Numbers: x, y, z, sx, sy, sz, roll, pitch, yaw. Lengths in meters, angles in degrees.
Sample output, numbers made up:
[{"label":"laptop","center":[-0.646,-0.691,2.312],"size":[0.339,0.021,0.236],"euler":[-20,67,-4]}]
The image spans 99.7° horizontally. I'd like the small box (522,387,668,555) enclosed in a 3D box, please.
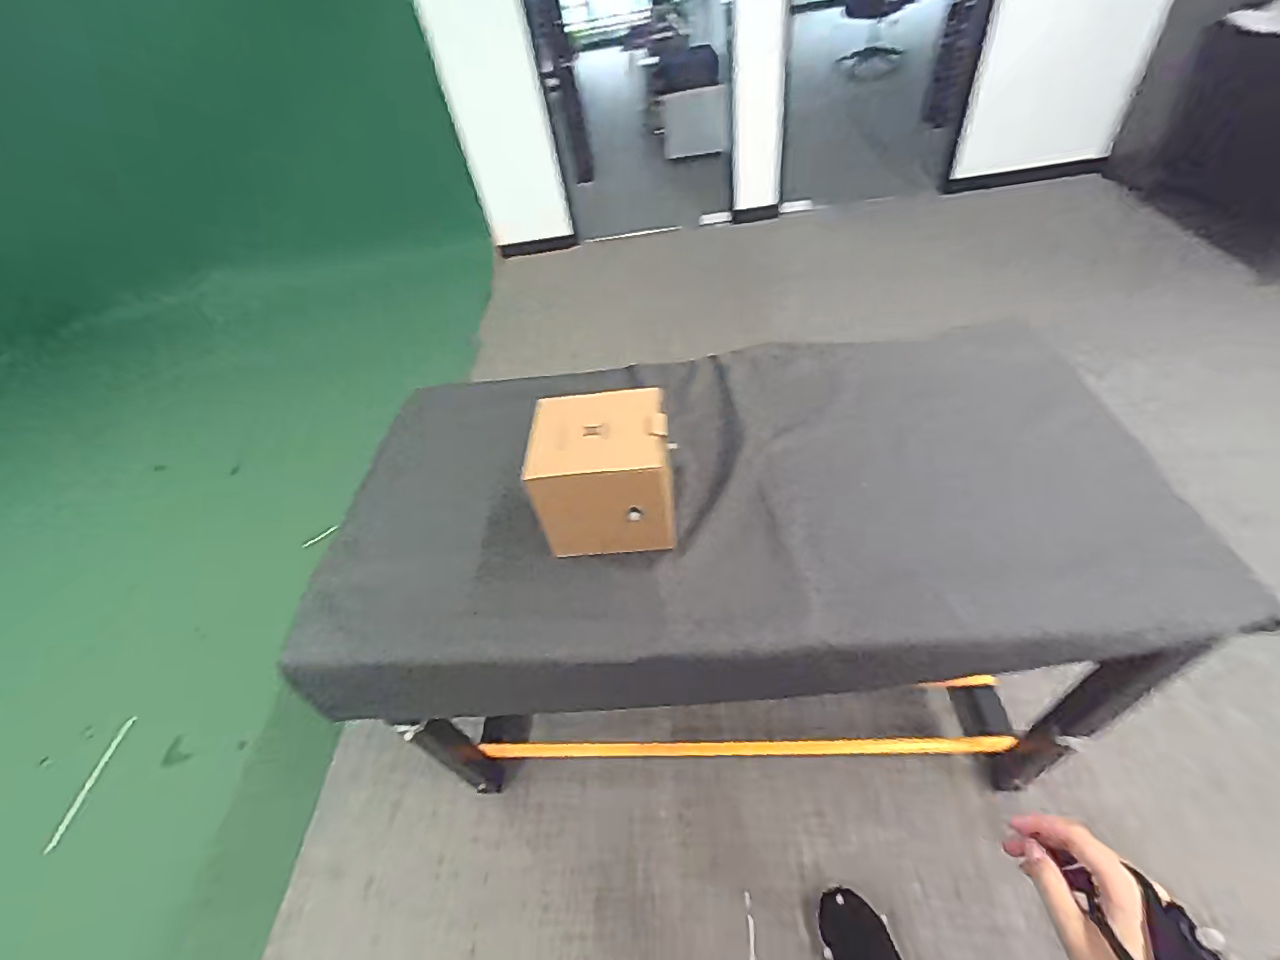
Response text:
[{"label":"small box","center":[-0.052,-0.009,0.776],"size":[0.179,0.176,0.168],"euler":[-6,45,6]}]
